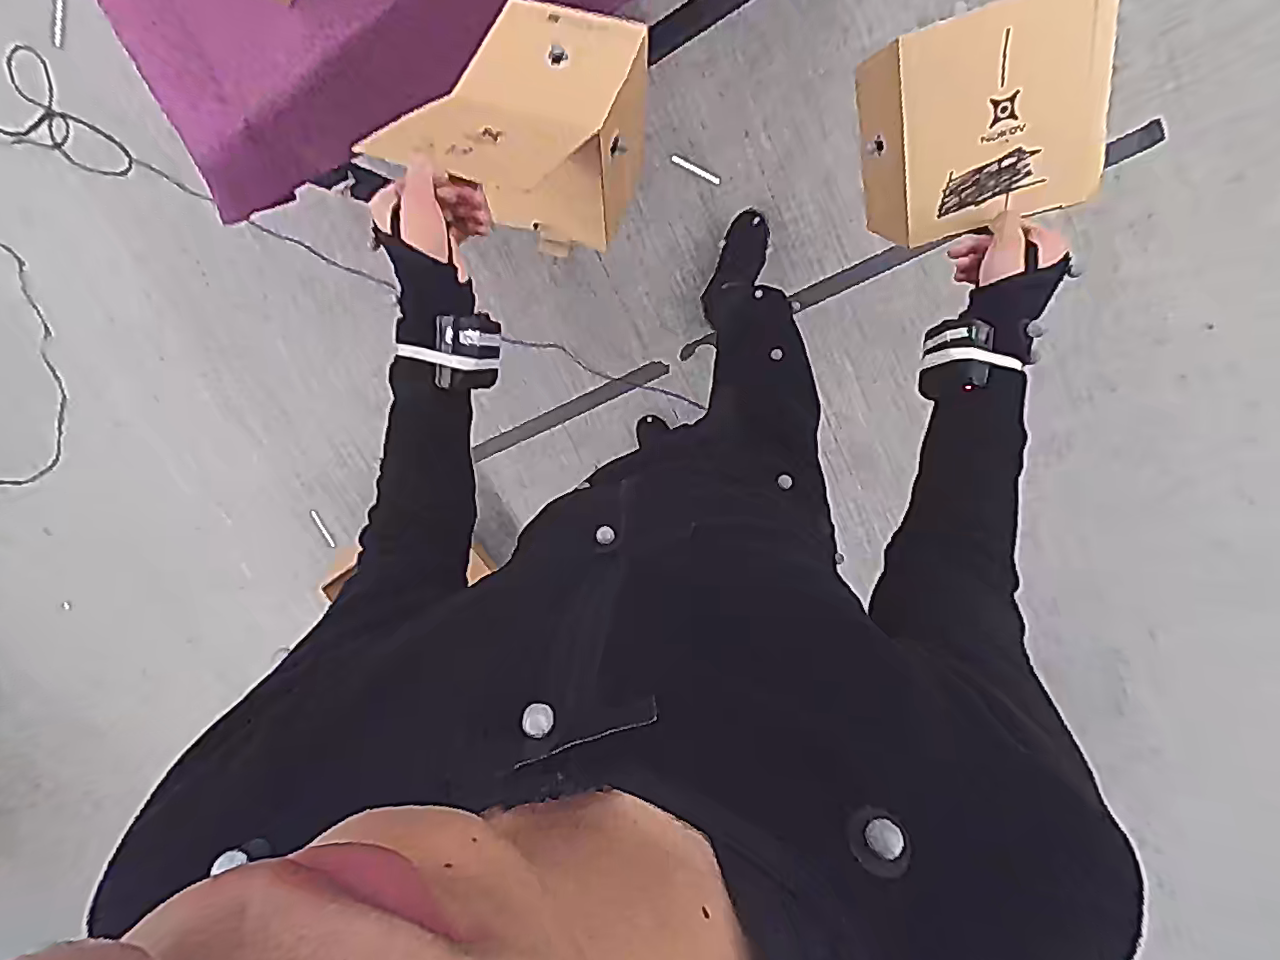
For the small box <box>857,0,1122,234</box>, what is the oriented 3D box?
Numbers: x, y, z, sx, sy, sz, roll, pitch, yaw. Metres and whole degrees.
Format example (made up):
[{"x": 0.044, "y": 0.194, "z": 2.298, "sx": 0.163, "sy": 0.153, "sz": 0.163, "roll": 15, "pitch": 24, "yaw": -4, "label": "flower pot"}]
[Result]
[{"x": 0.325, "y": -0.367, "z": 0.537, "sx": 0.168, "sy": 0.176, "sz": 0.179, "roll": -11, "pitch": 118, "yaw": 13, "label": "small box"}]

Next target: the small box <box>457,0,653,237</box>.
[{"x": -0.087, "y": -0.435, "z": 0.646, "sx": 0.168, "sy": 0.179, "sz": 0.176, "roll": 17, "pitch": 74, "yaw": 6, "label": "small box"}]
